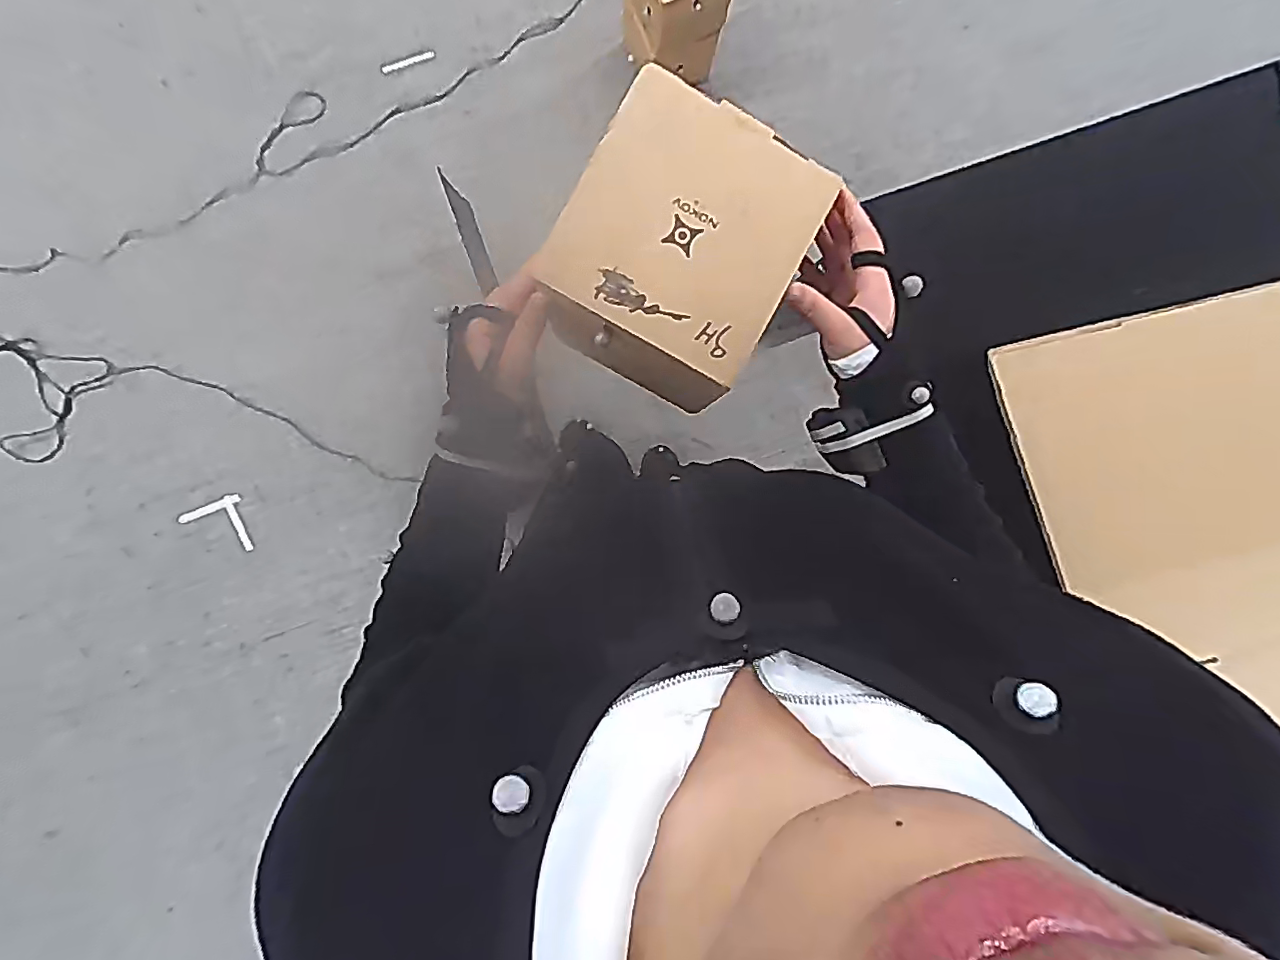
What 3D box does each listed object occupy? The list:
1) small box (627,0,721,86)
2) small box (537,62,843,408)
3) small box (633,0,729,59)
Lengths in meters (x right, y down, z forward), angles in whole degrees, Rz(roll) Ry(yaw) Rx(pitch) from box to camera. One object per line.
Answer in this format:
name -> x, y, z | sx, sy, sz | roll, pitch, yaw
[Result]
small box -> 0.075, -1.069, 1.314 | 0.179, 0.176, 0.168 | -23, 95, 1
small box -> 0.032, -0.183, 0.463 | 0.168, 0.176, 0.179 | 29, 88, -2
small box -> 0.086, -1.058, 1.153 | 0.179, 0.176, 0.168 | -26, 96, -1
